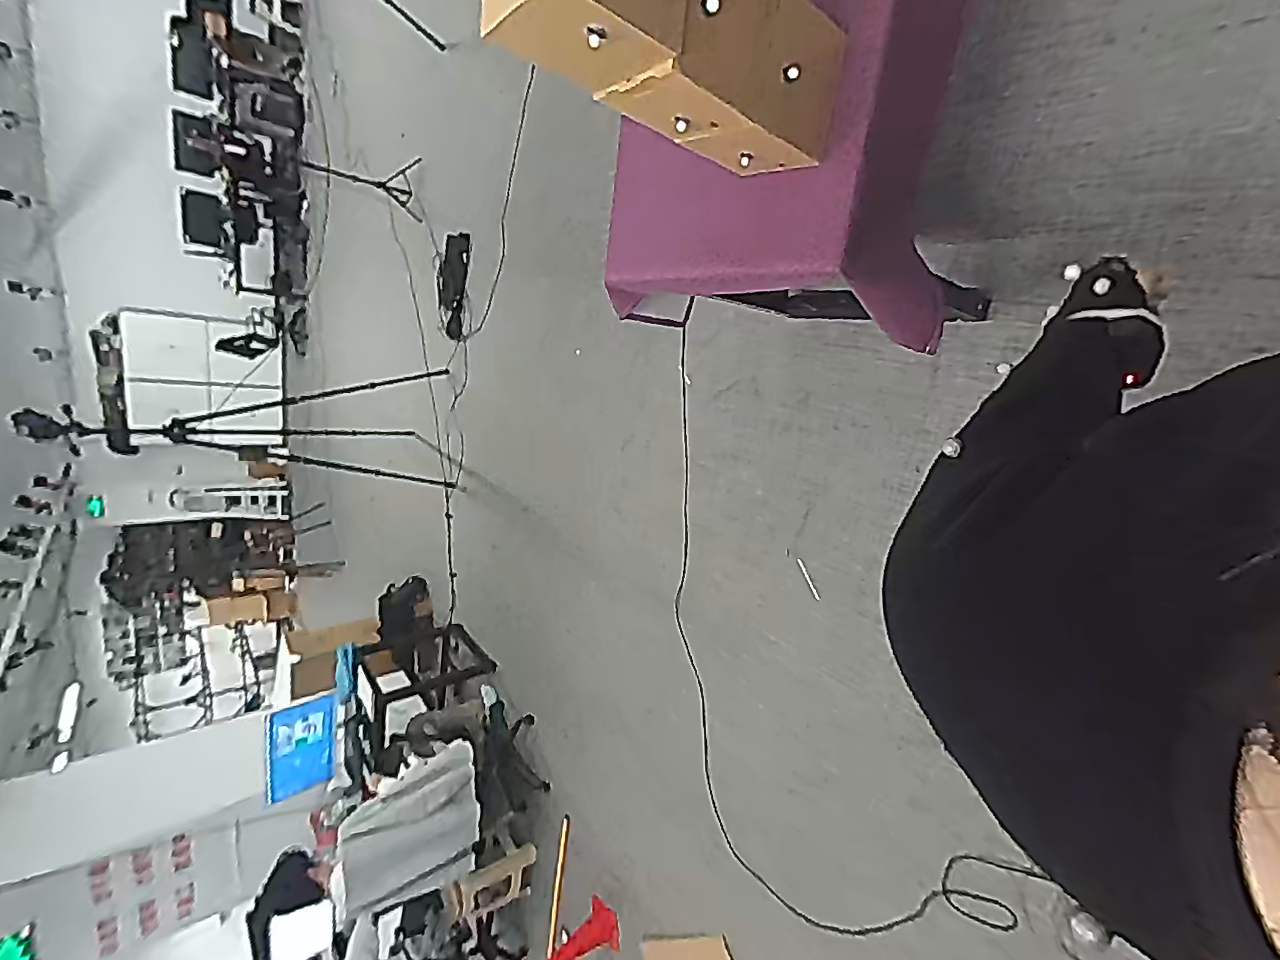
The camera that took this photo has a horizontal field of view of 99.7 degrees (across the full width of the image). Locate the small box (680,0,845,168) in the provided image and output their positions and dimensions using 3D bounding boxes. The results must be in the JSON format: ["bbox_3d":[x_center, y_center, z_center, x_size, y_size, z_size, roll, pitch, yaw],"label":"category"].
[{"bbox_3d":[0.187,-0.598,0.829,0.168,0.176,0.179,25,112,45],"label":"small box"}]

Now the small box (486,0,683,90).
[{"bbox_3d":[-0.057,-0.584,0.613,0.179,0.176,0.168,22,110,47],"label":"small box"}]

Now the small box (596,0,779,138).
[{"bbox_3d":[0.065,-0.593,0.722,0.168,0.176,0.179,24,113,45],"label":"small box"}]
